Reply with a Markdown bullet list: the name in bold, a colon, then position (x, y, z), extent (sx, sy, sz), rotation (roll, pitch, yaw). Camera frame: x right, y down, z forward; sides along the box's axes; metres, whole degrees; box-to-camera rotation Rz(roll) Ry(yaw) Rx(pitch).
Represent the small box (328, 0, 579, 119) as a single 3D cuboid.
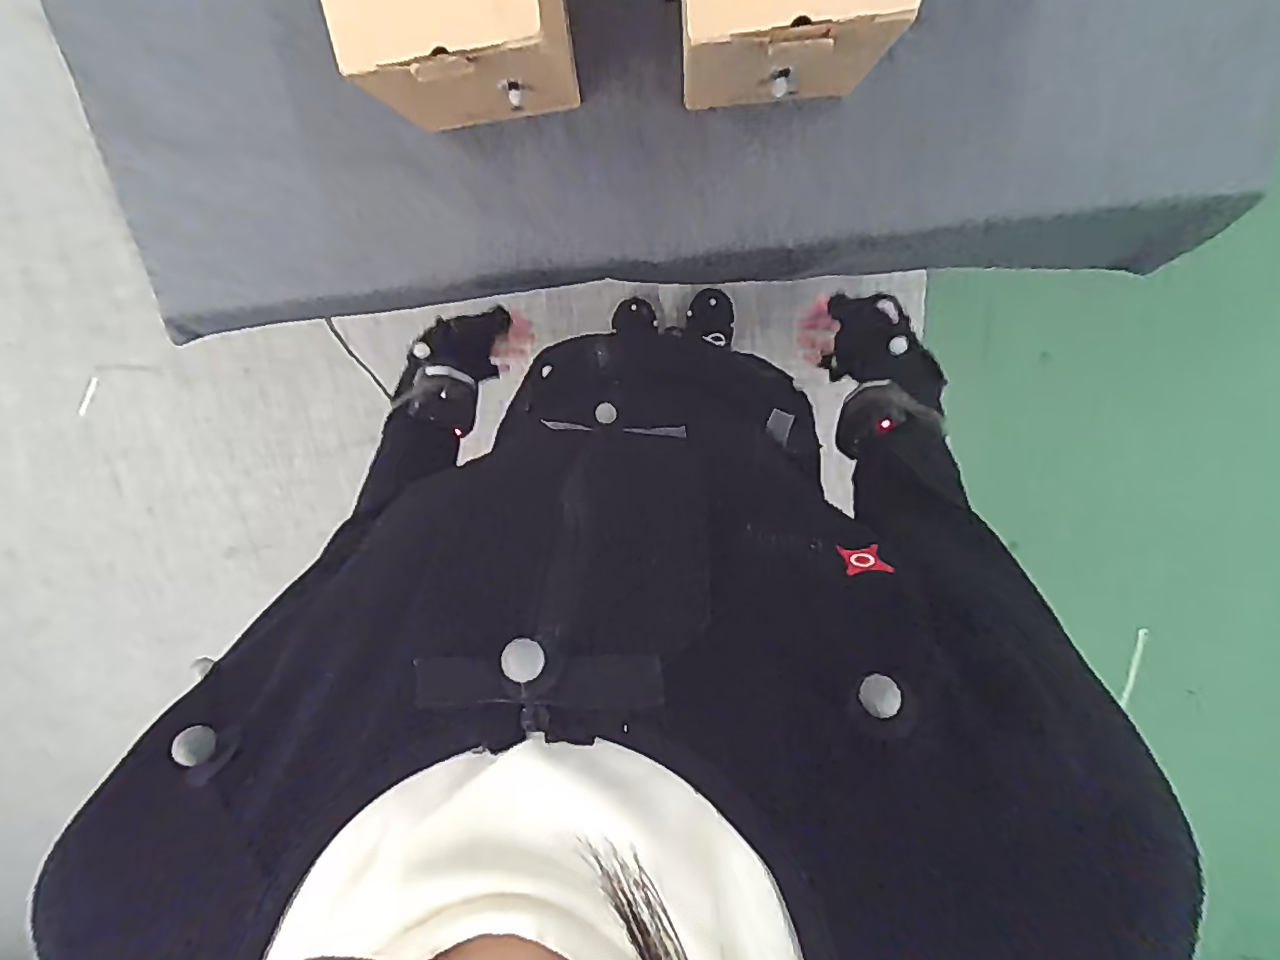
- **small box**: position (-0.155, -0.436, 0.465), extent (0.168, 0.176, 0.179), rotation (-6, 108, 5)
